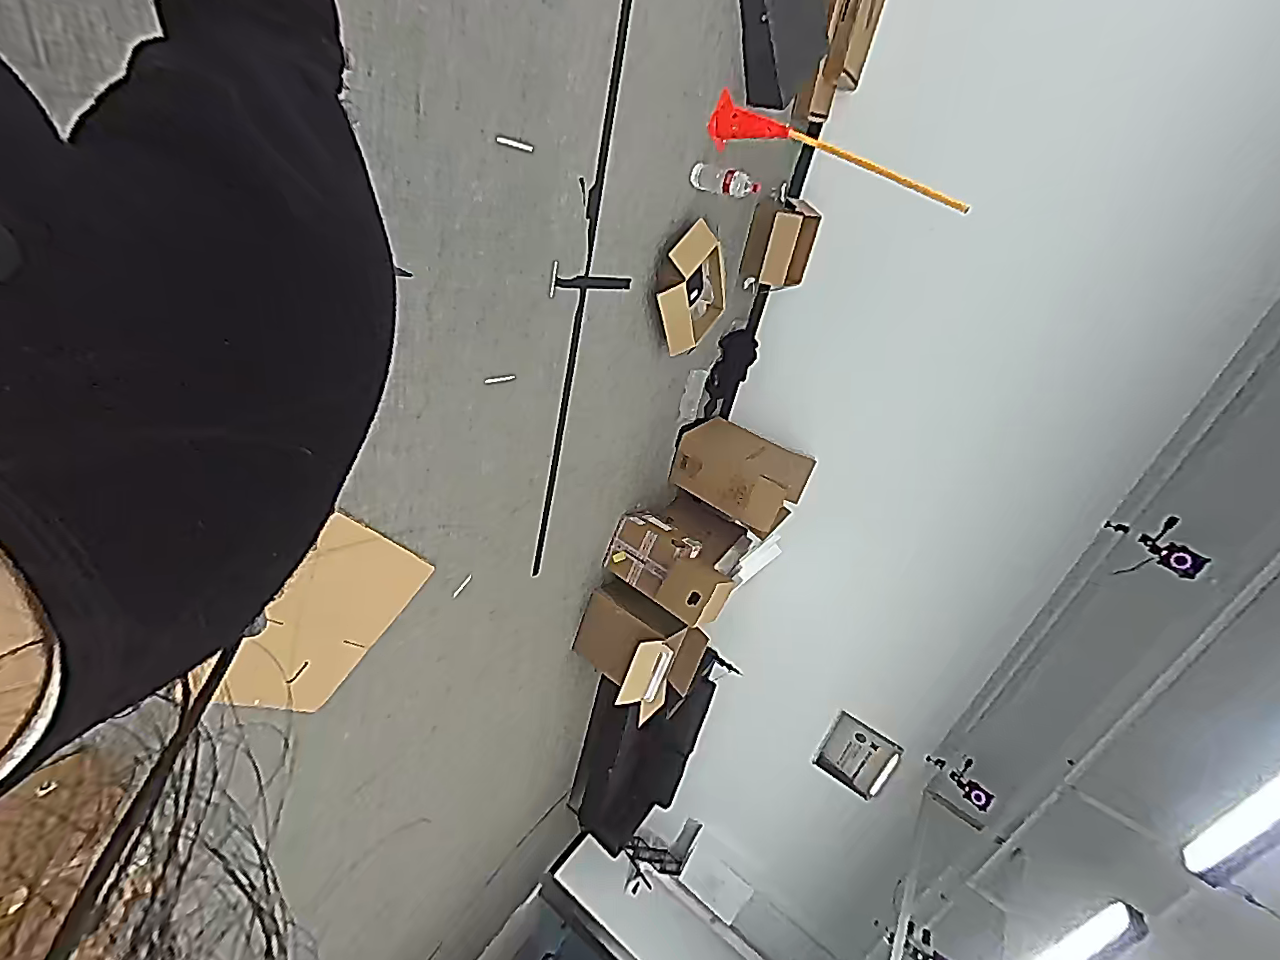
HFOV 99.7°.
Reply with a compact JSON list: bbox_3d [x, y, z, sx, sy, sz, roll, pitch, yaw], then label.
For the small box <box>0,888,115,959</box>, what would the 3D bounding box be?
[{"bbox_3d":[-1.324,1.064,1.200,0.168,0.176,0.179,-29,140,-49],"label":"small box"}]
